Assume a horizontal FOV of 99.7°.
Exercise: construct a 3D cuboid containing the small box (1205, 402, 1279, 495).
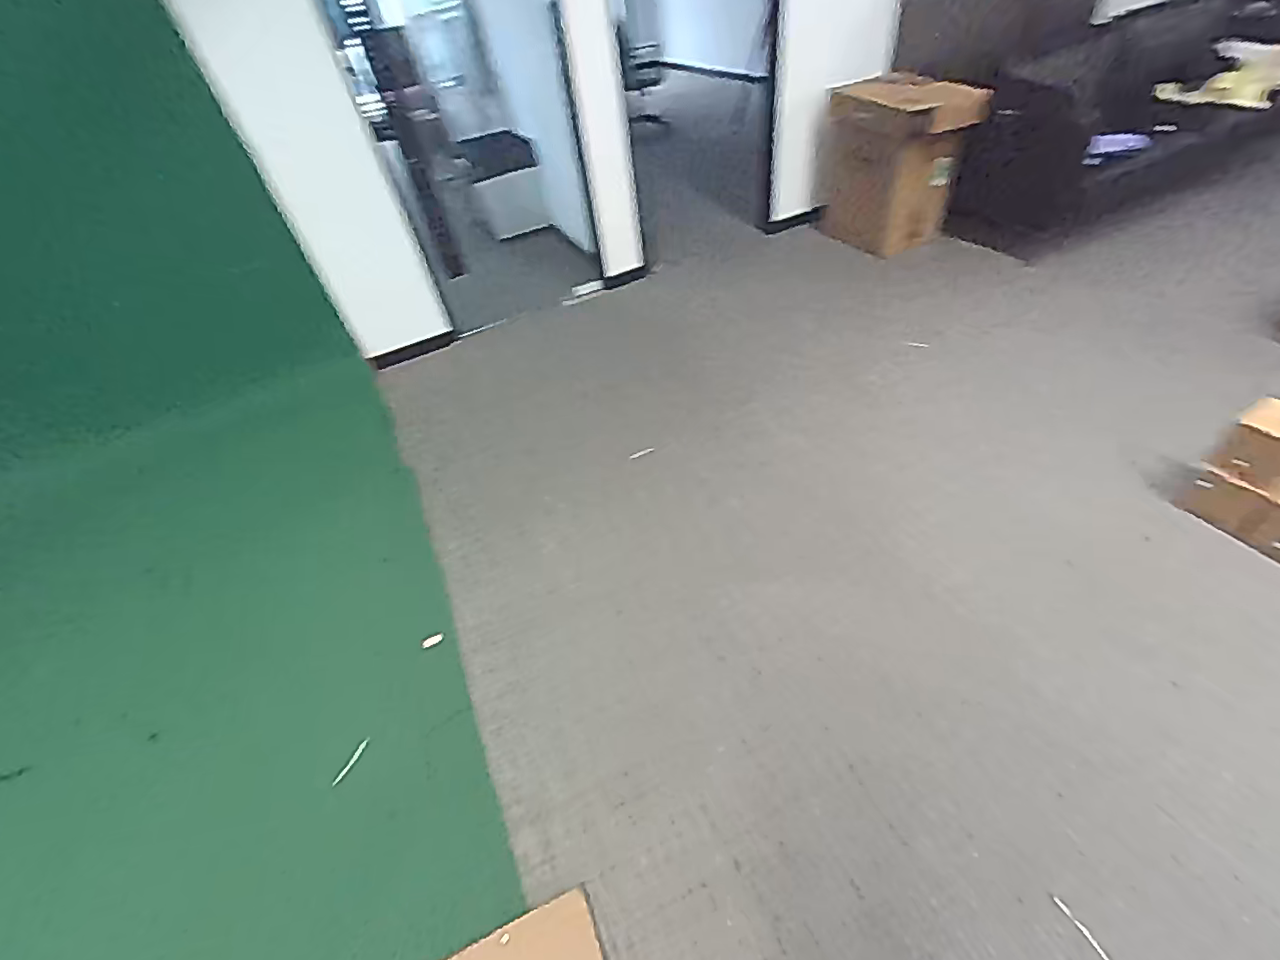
[{"bbox_3d":[1.801,-0.090,1.551,0.179,0.176,0.168,-25,46,-15],"label":"small box"}]
